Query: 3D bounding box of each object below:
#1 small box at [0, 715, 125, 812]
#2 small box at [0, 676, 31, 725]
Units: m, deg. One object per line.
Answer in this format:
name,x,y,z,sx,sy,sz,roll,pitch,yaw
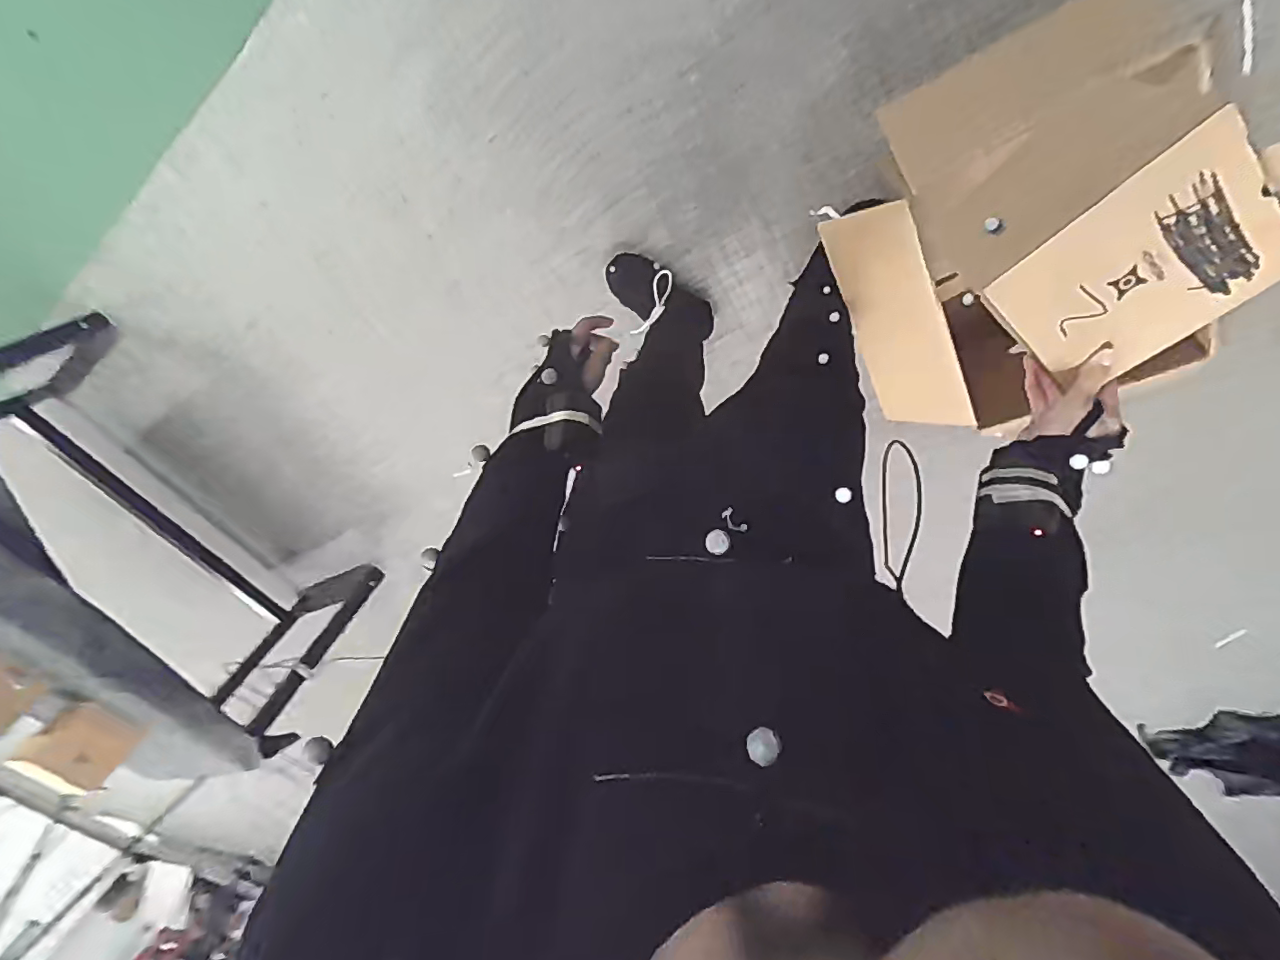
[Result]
small box,-1.508,0.721,1.386,0.168,0.176,0.179,-13,123,22
small box,-1.644,0.558,1.296,0.179,0.176,0.168,-24,119,28
